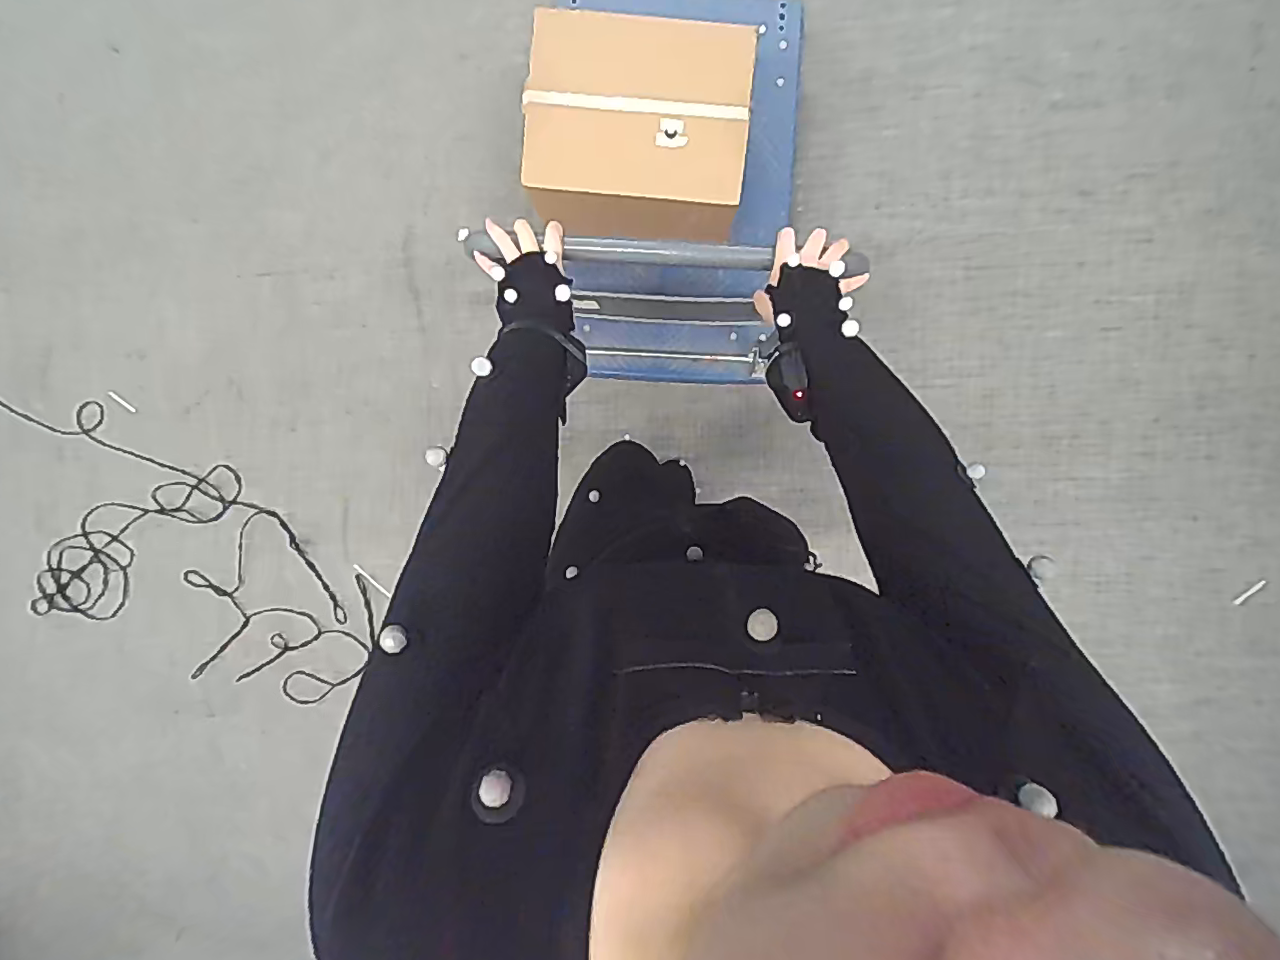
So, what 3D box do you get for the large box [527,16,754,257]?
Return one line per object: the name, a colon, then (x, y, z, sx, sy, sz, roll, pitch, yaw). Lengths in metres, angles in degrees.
large box: (0.000, -0.691, 1.142, 0.408, 0.320, 0.320, 5, 94, 1)
